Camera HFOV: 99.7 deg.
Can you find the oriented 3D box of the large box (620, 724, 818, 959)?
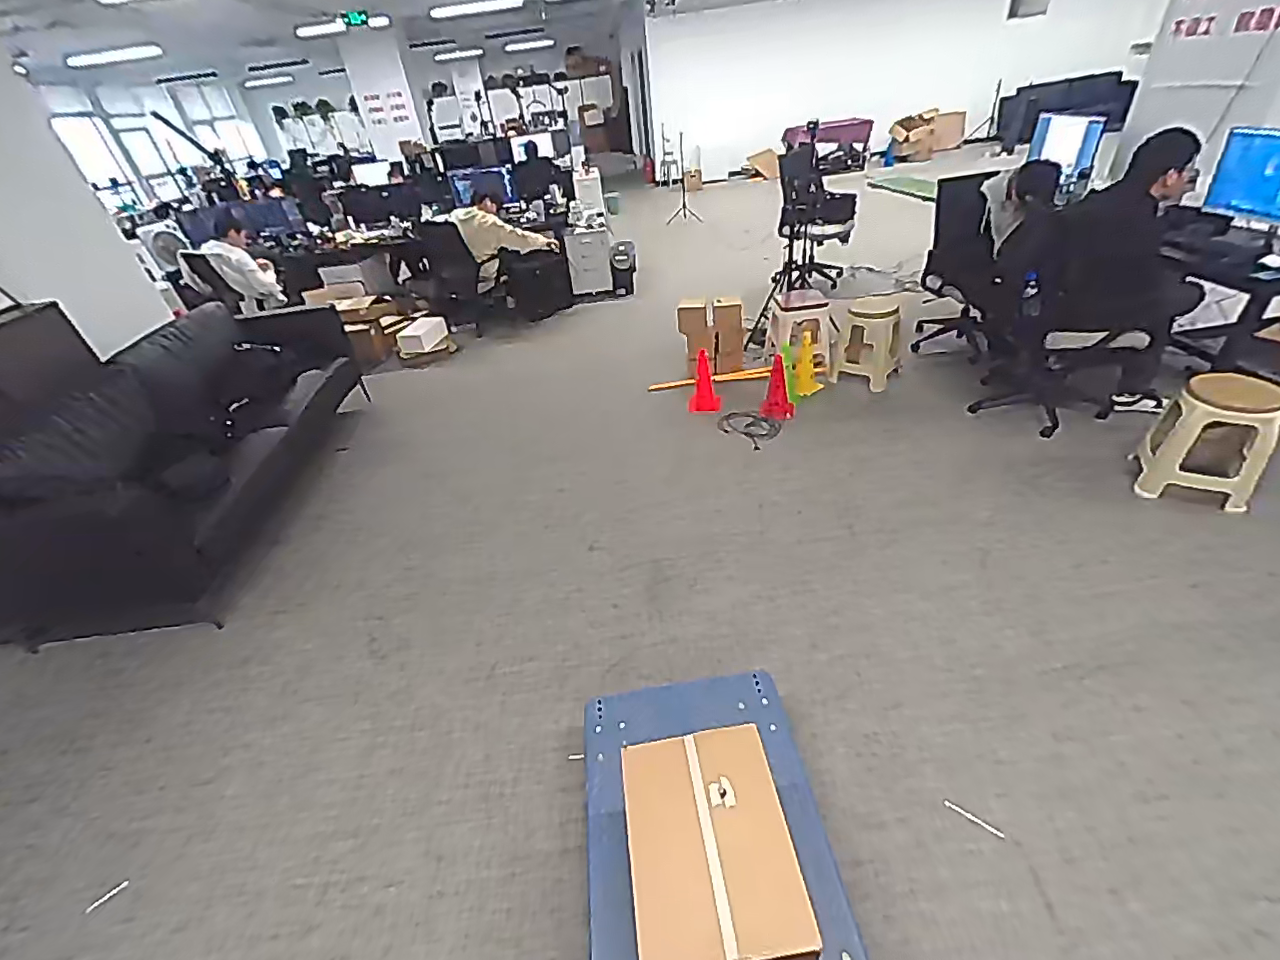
[{"bbox_3d":[0.150,0.816,1.157,0.320,0.320,0.408,-10,36,-2],"label":"large box"}]
